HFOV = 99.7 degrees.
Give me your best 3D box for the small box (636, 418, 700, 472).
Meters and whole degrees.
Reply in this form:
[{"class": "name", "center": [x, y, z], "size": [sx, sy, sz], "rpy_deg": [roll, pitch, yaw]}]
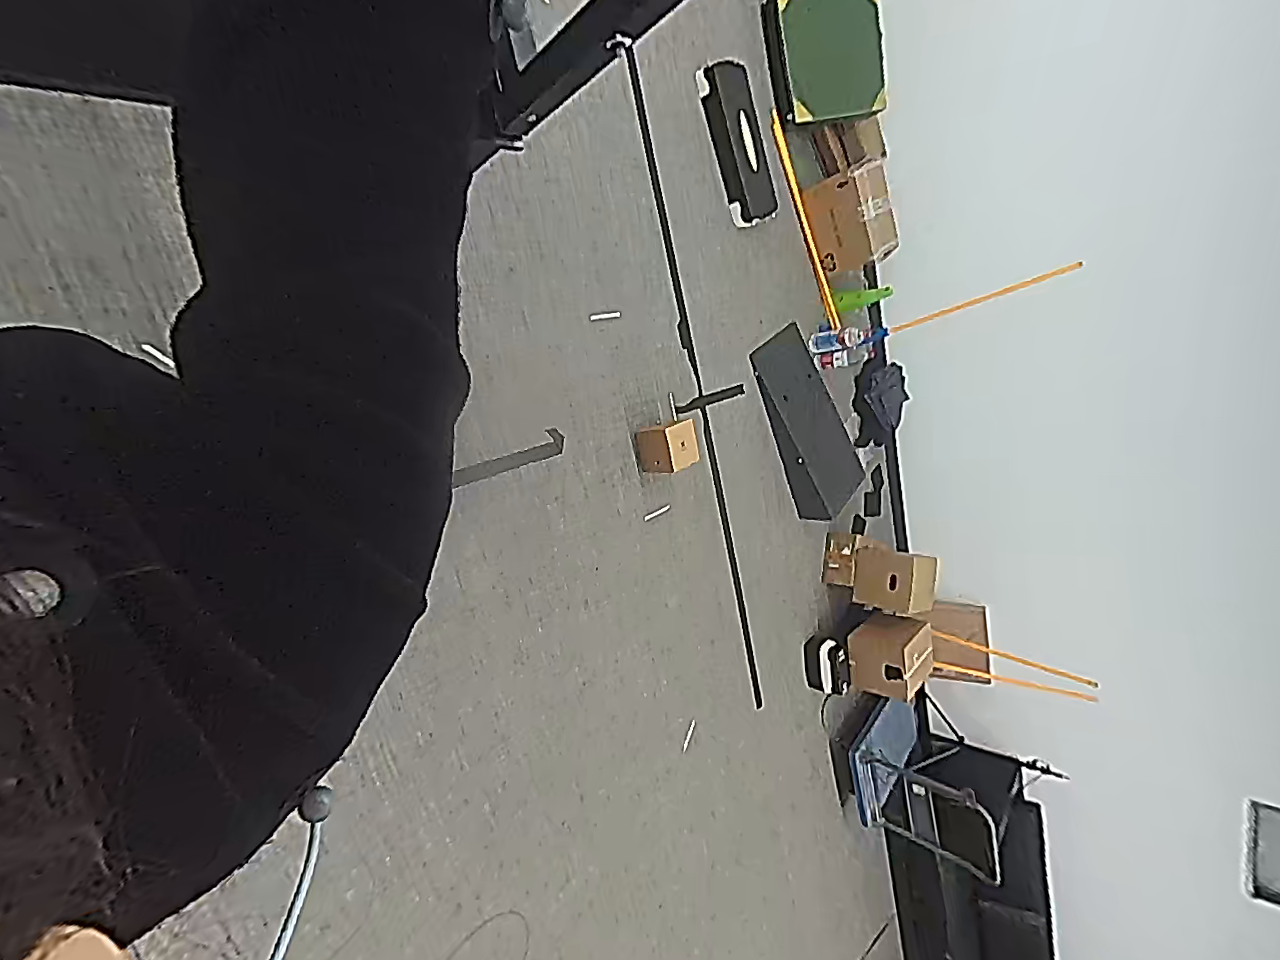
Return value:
[{"class": "small box", "center": [0.110, -0.139, 2.130], "size": [0.168, 0.176, 0.179], "rpy_deg": [-25, 108, -41]}]
